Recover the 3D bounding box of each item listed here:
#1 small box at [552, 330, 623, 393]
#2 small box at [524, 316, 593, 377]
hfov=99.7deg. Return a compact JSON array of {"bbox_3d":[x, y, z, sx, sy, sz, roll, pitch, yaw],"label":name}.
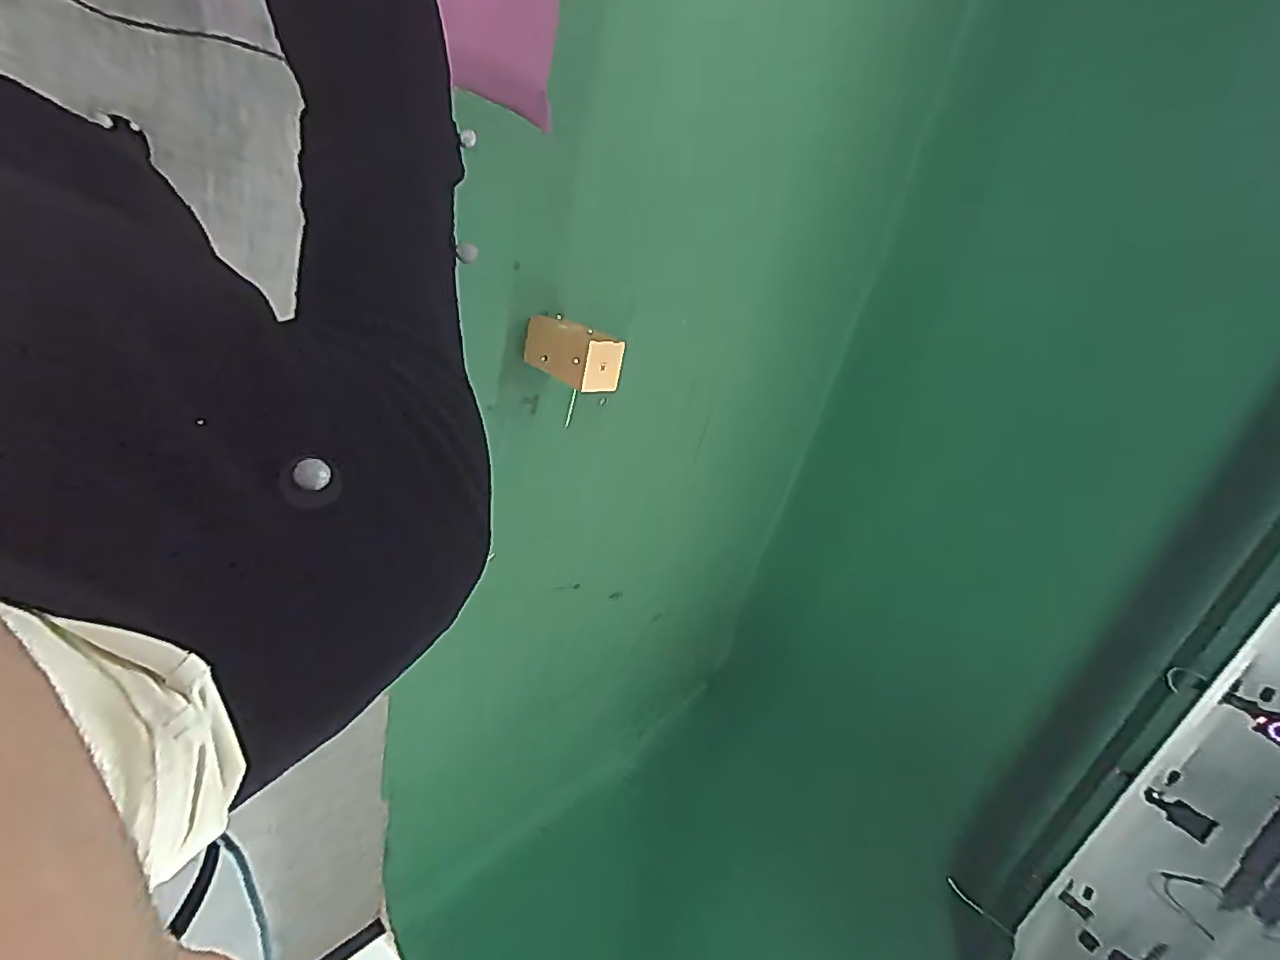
[{"bbox_3d":[-0.187,-0.410,1.877,0.168,0.176,0.179,-12,122,-46],"label":"small box"},{"bbox_3d":[-0.302,-0.483,1.967,0.168,0.176,0.179,-9,121,-47],"label":"small box"}]
